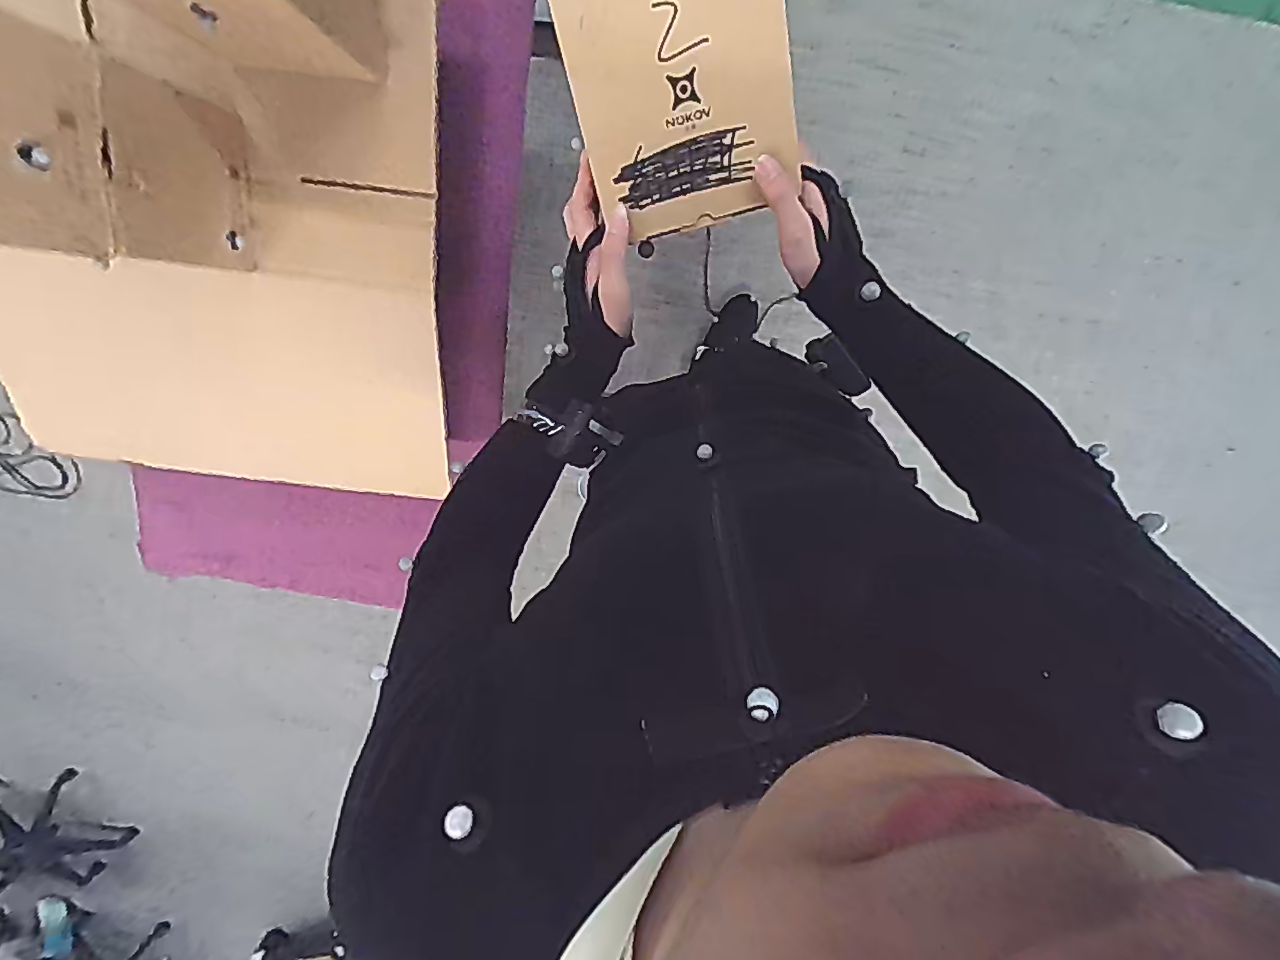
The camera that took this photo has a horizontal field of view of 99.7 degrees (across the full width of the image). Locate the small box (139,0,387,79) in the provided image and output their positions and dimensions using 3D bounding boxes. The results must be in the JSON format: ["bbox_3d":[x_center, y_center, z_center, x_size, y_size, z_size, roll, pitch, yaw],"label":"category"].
[{"bbox_3d":[-0.350,-0.490,0.479,0.179,0.176,0.168,8,107,0],"label":"small box"}]

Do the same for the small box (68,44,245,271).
[{"bbox_3d":[-0.534,-0.309,0.541,0.179,0.176,0.168,7,106,1],"label":"small box"}]

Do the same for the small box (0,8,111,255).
[{"bbox_3d":[-0.550,-0.264,0.385,0.179,0.176,0.168,6,105,0],"label":"small box"}]
